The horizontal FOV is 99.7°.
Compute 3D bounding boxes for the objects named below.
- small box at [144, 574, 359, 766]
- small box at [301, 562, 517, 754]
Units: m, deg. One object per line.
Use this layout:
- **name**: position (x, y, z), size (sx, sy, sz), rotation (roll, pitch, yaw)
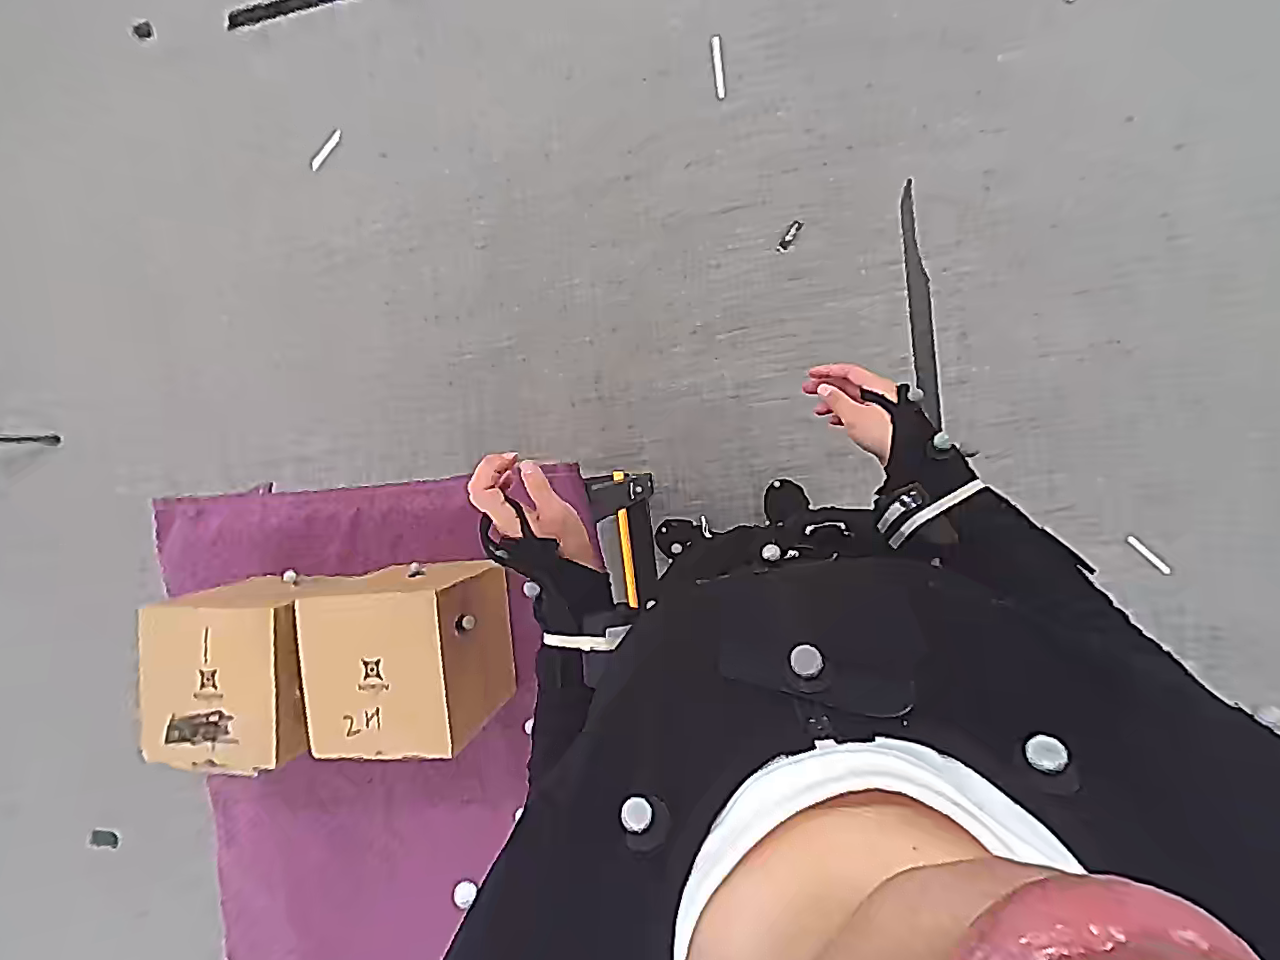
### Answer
- **small box**: position (-0.457, 0.221, 0.672), size (0.168, 0.176, 0.179), rotation (-1, 91, 7)
- **small box**: position (-0.260, 0.197, 0.643), size (0.168, 0.176, 0.179), rotation (-5, 92, 10)
